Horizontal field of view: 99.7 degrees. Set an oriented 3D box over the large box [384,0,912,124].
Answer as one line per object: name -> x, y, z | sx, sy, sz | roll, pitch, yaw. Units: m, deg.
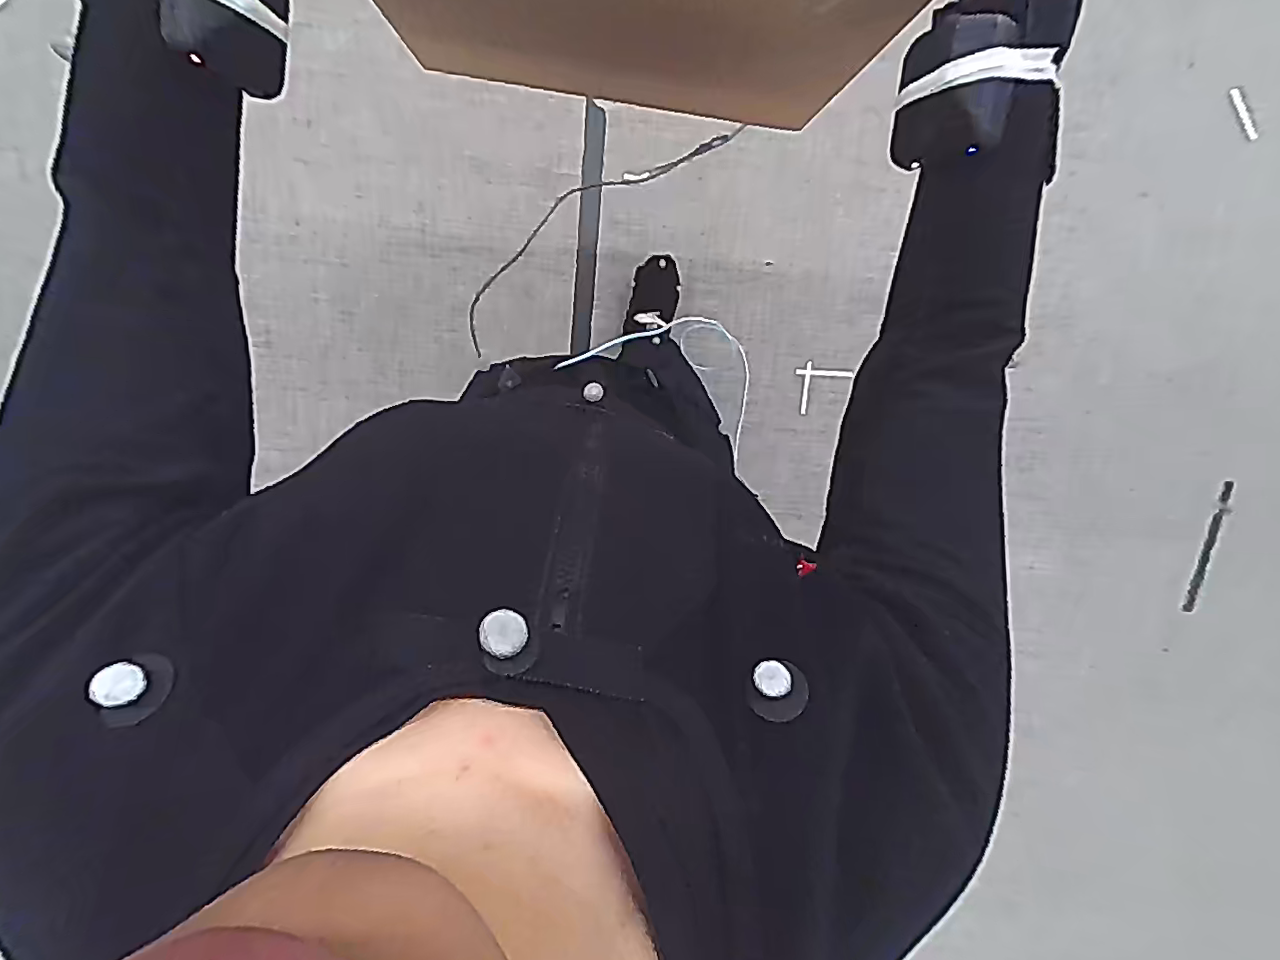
large box -> 0.002, -0.510, 0.397 | 0.408, 0.320, 0.320 | 6, 107, -5
